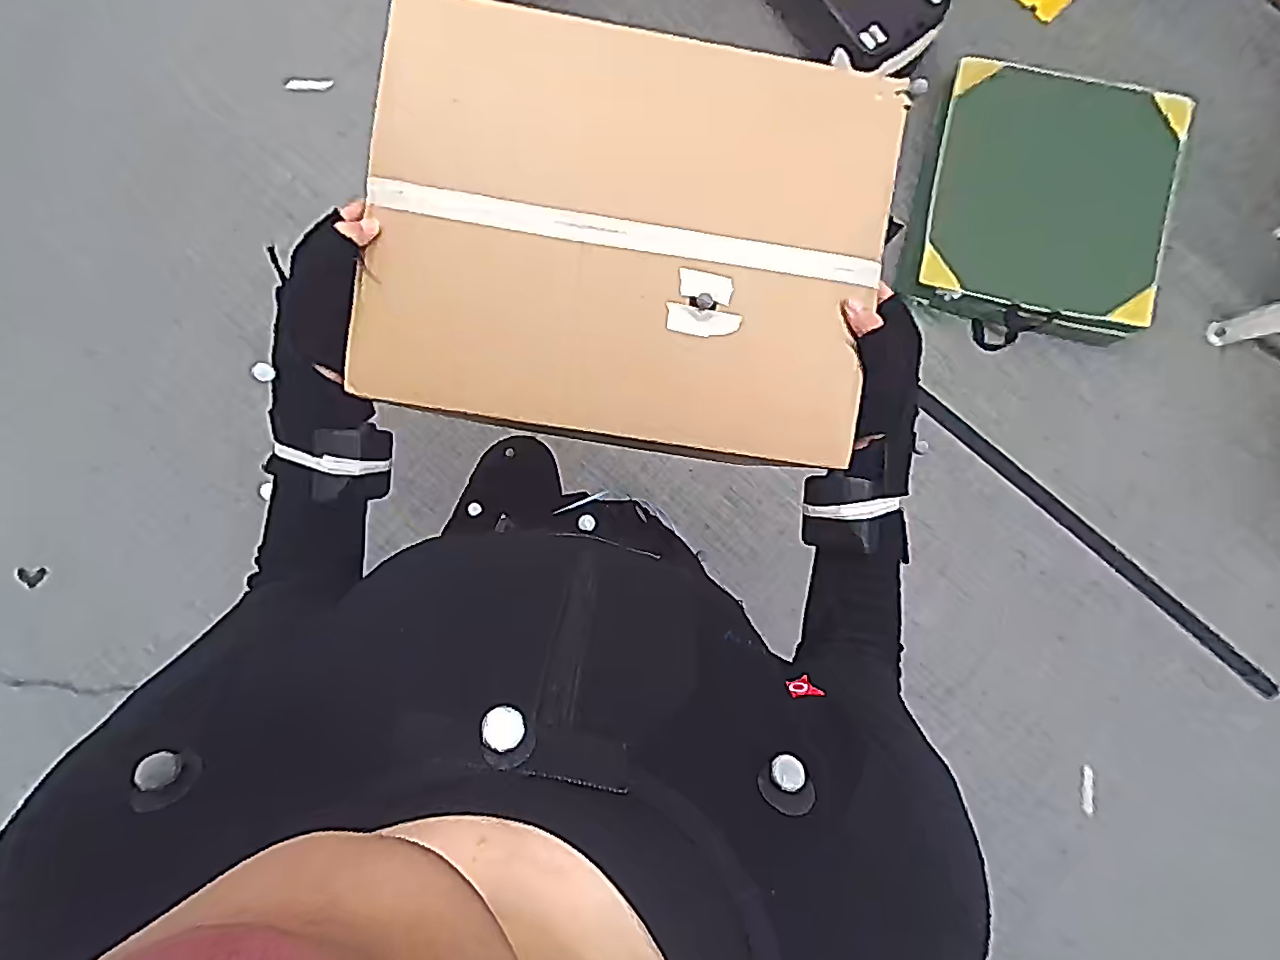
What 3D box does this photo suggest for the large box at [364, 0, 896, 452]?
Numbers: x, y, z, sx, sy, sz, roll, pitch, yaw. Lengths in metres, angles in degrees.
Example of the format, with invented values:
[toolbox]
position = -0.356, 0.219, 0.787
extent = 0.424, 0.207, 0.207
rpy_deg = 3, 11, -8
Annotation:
[large box]
position = -0.015, -0.209, 0.584
extent = 0.408, 0.320, 0.320
rpy_deg = 9, 93, -3
